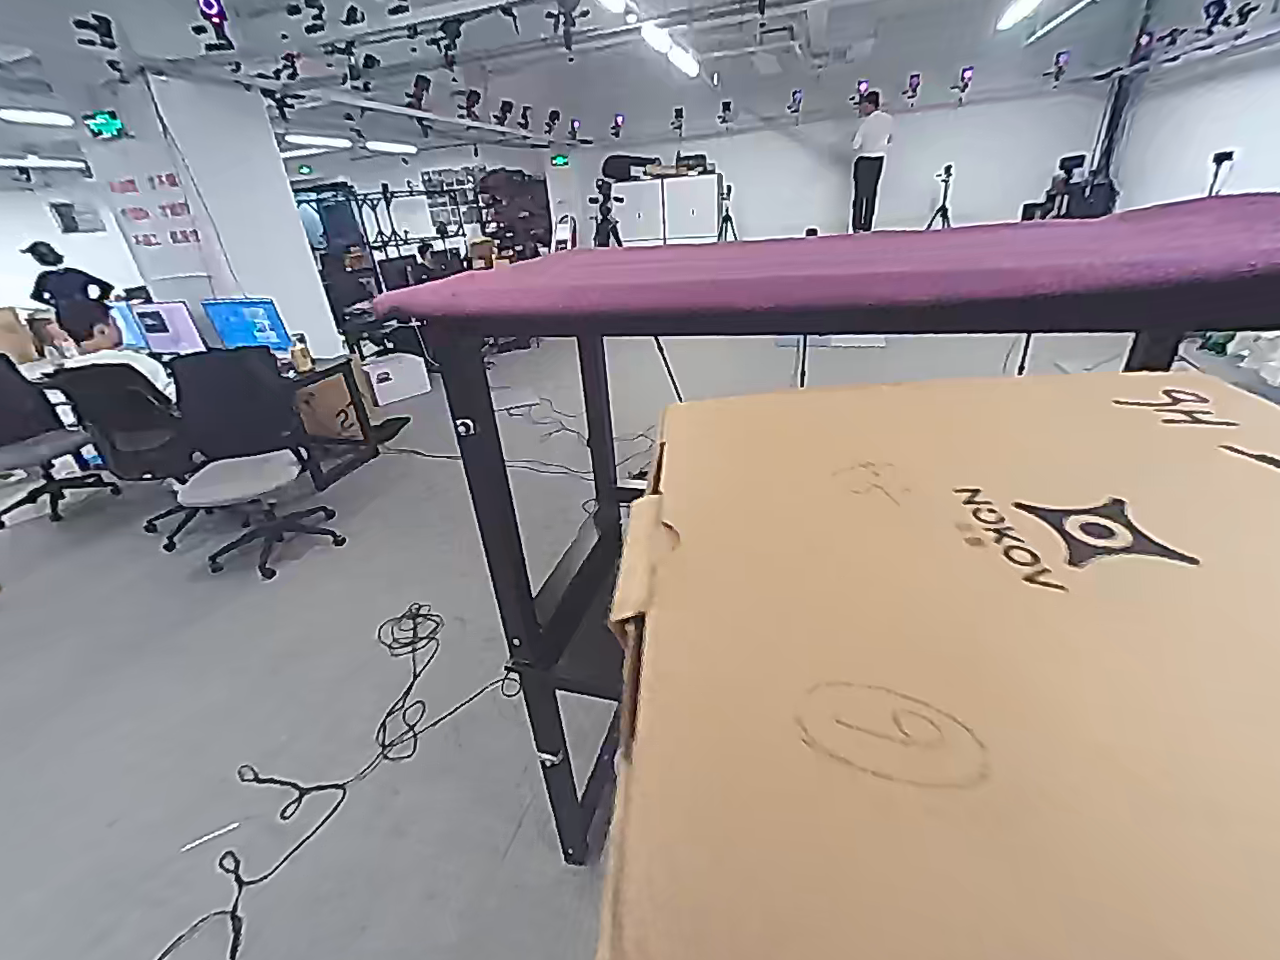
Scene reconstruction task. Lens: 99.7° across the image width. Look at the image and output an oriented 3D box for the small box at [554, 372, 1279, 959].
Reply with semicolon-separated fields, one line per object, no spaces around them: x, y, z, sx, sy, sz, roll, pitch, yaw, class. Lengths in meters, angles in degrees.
0.090;0.081;0.163;0.179;0.176;0.168;-3;32;7;small box
